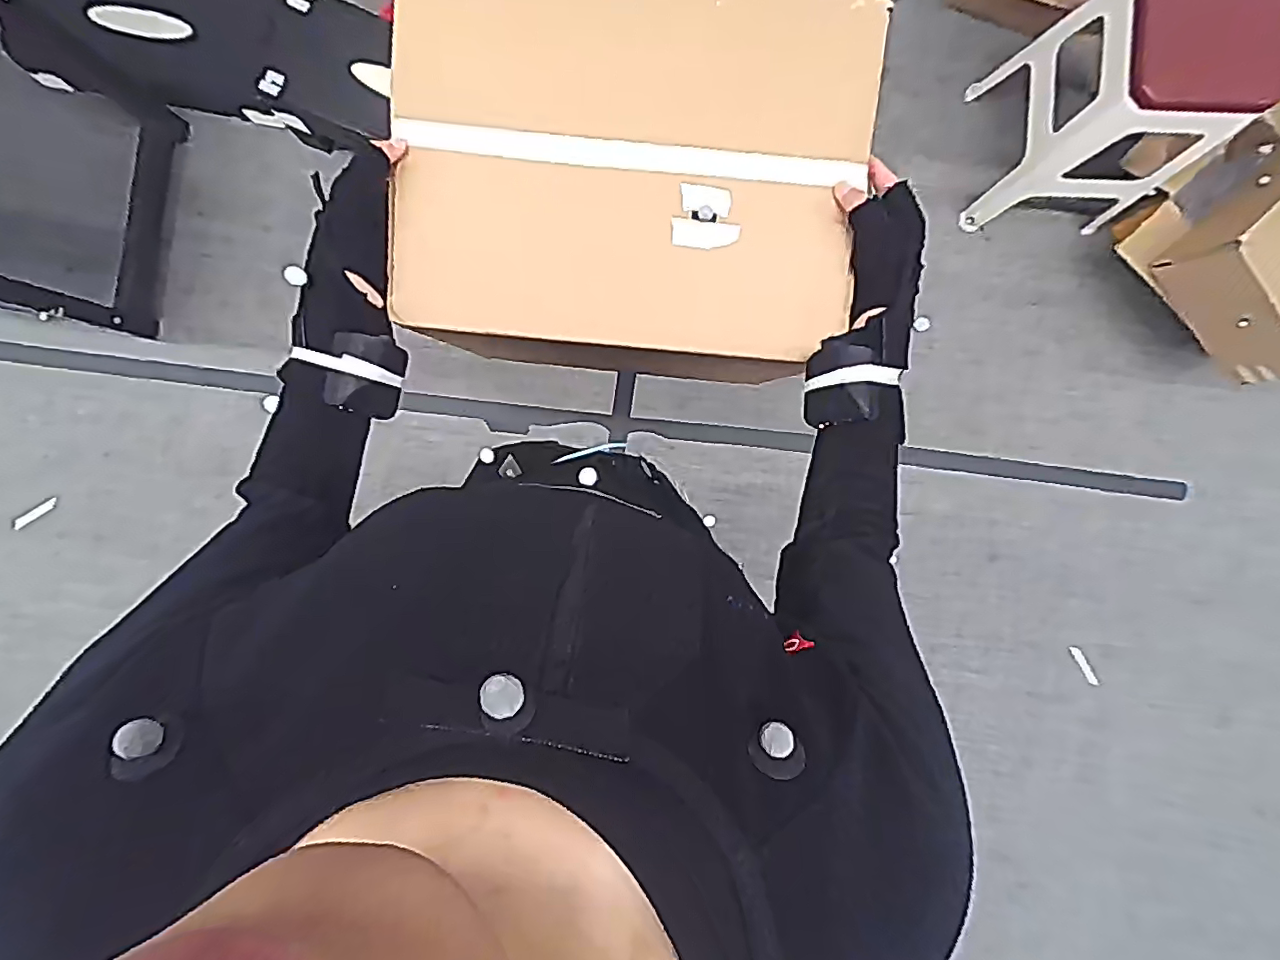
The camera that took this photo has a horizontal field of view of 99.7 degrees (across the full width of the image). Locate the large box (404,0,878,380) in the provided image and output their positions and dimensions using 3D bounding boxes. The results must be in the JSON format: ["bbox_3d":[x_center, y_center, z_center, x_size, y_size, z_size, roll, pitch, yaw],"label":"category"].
[{"bbox_3d":[-0.010,-0.294,0.623,0.408,0.320,0.320,5,98,-3],"label":"large box"}]
